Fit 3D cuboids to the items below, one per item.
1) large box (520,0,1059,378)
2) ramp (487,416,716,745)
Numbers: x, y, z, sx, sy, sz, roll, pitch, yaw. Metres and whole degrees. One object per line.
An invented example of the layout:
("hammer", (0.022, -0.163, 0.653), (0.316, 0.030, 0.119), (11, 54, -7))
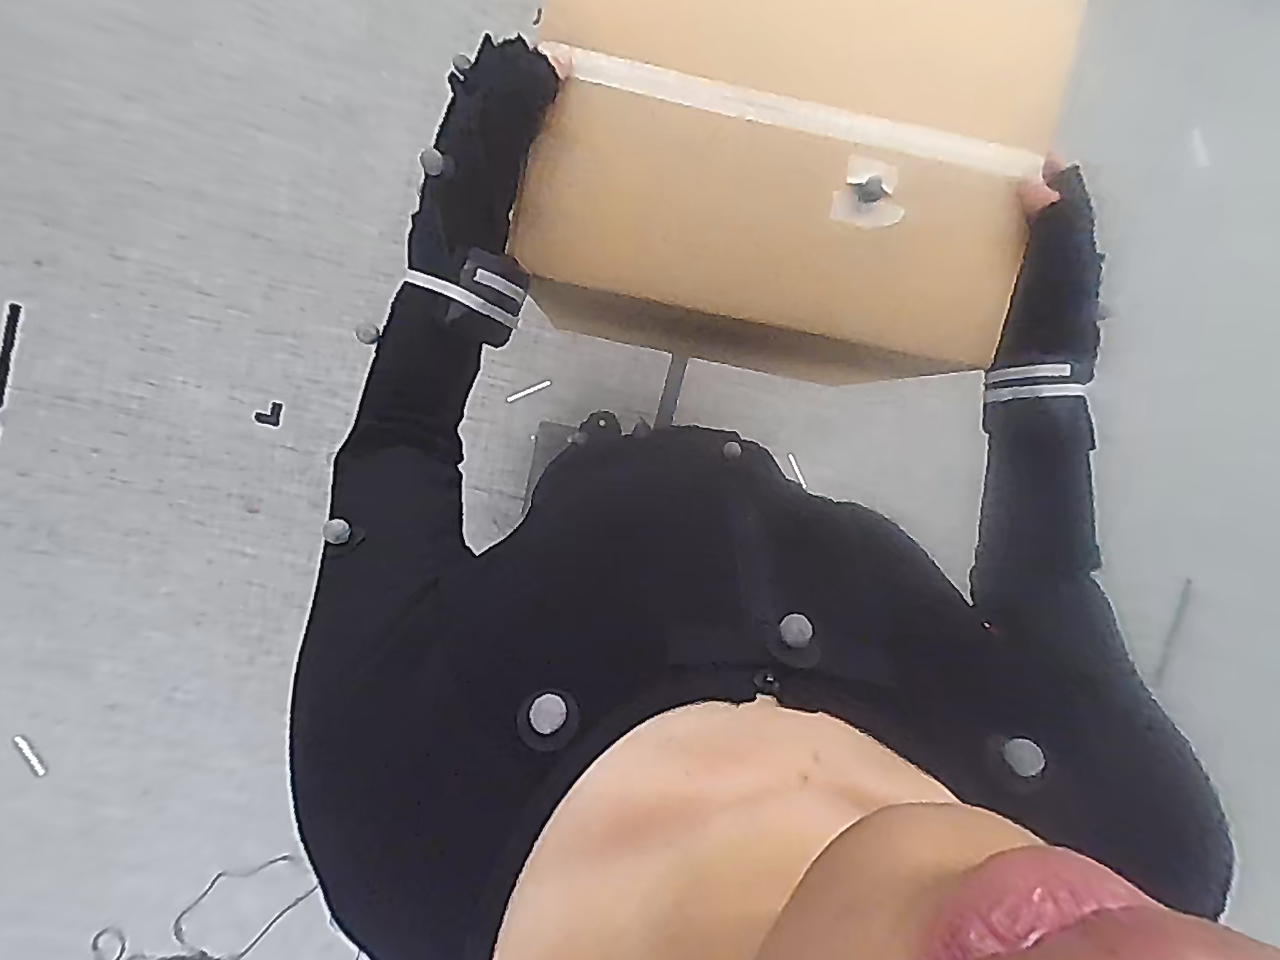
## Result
("large box", (0.111, -0.306, 0.582), (0.408, 0.320, 0.320), (10, 97, -4))
("ramp", (-0.135, 0.342, 1.605), (0.509, 0.206, 0.991), (11, 95, -5))
